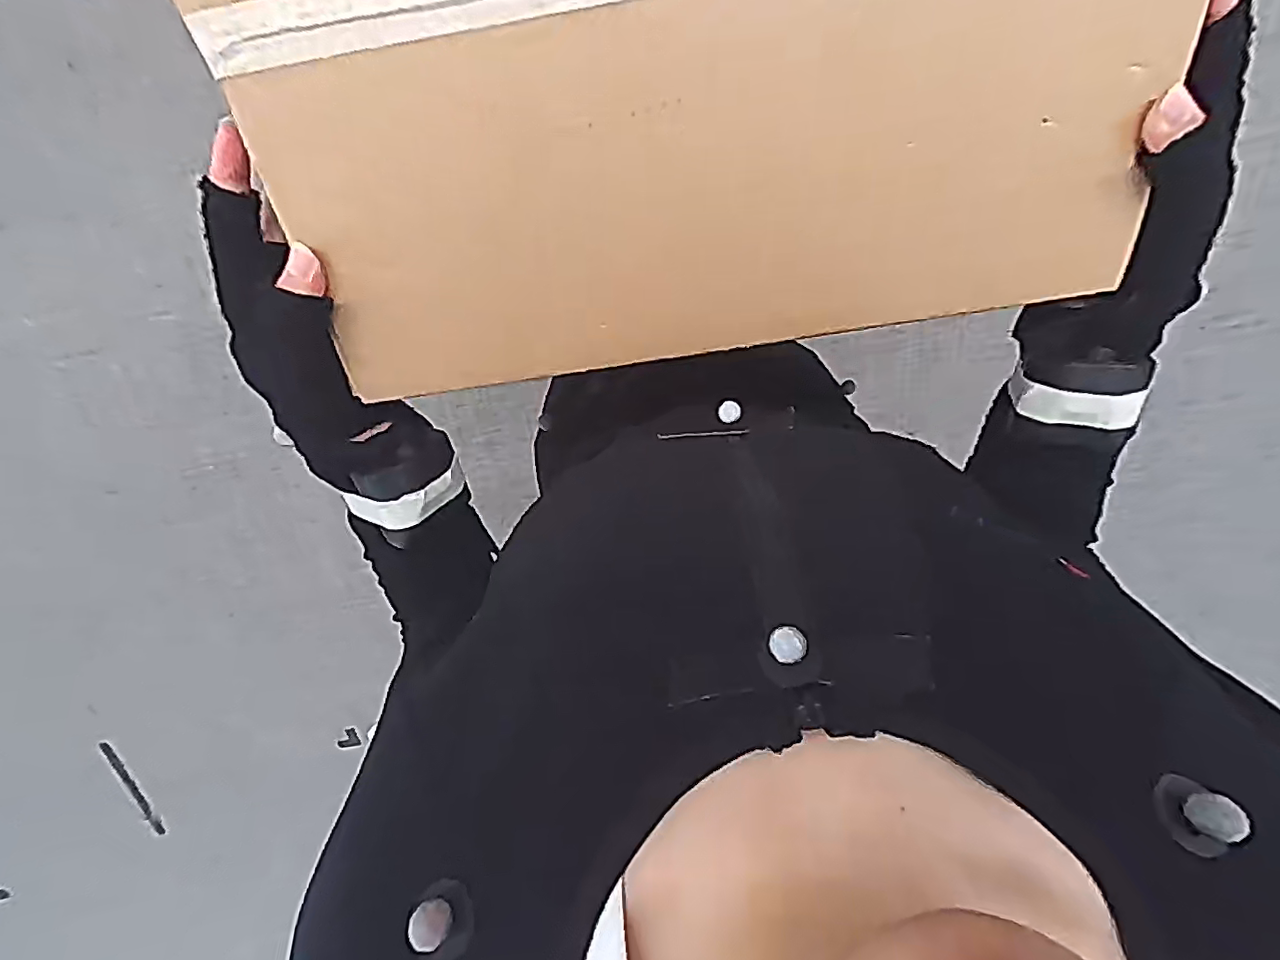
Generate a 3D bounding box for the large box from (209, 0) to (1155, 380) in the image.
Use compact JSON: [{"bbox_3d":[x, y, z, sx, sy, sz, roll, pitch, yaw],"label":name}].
[{"bbox_3d":[0.012,-0.289,0.350,0.408,0.320,0.320,-8,121,2],"label":"large box"}]
